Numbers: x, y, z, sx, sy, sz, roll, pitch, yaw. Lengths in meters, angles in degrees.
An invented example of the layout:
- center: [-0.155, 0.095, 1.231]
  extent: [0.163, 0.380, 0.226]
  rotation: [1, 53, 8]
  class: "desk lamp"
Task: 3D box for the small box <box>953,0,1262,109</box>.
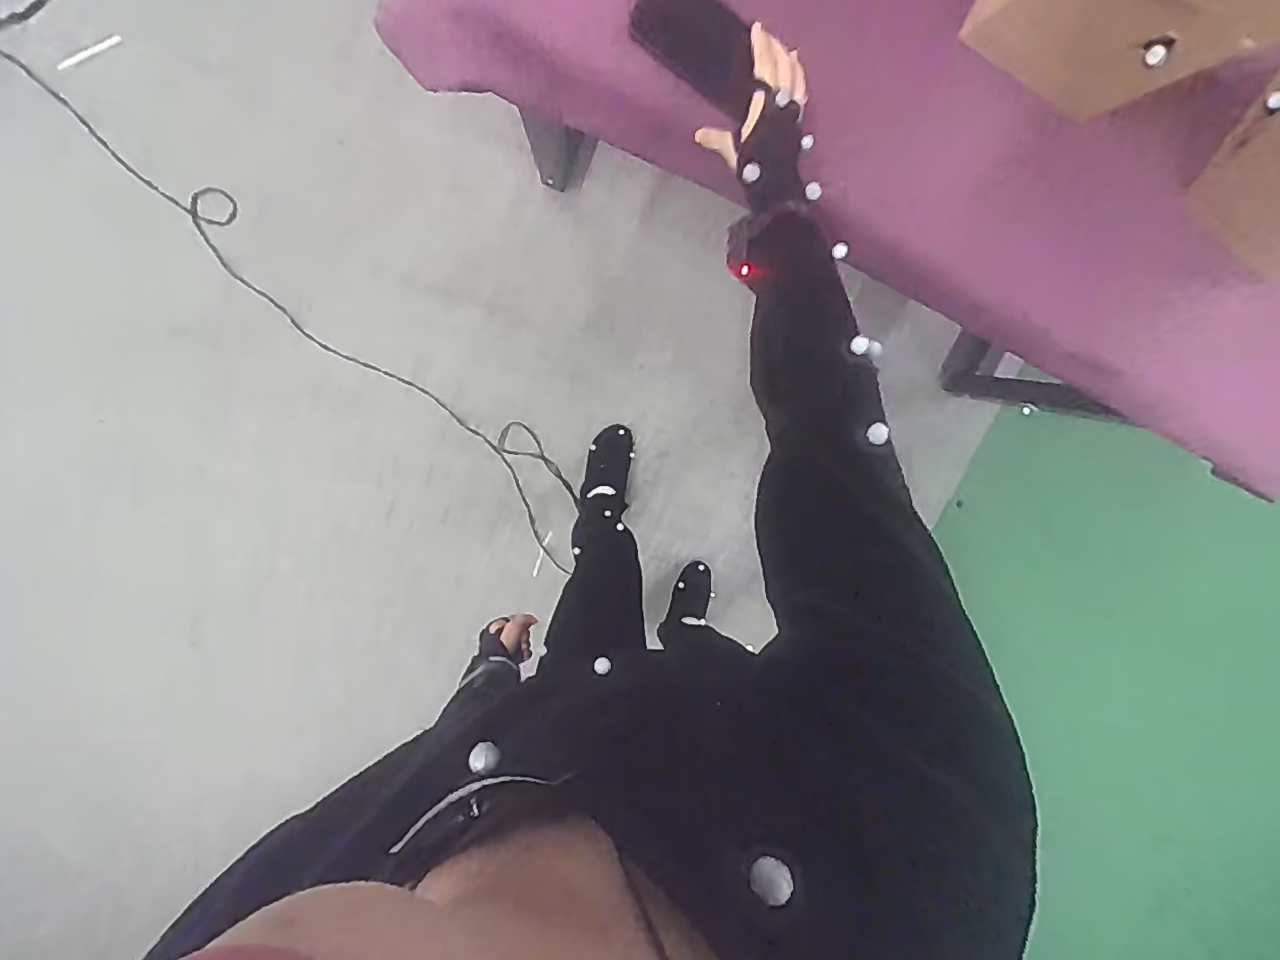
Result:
- center: [0.443, -0.483, 0.496]
  extent: [0.179, 0.176, 0.168]
  rotation: [24, 101, -11]
  class: "small box"
